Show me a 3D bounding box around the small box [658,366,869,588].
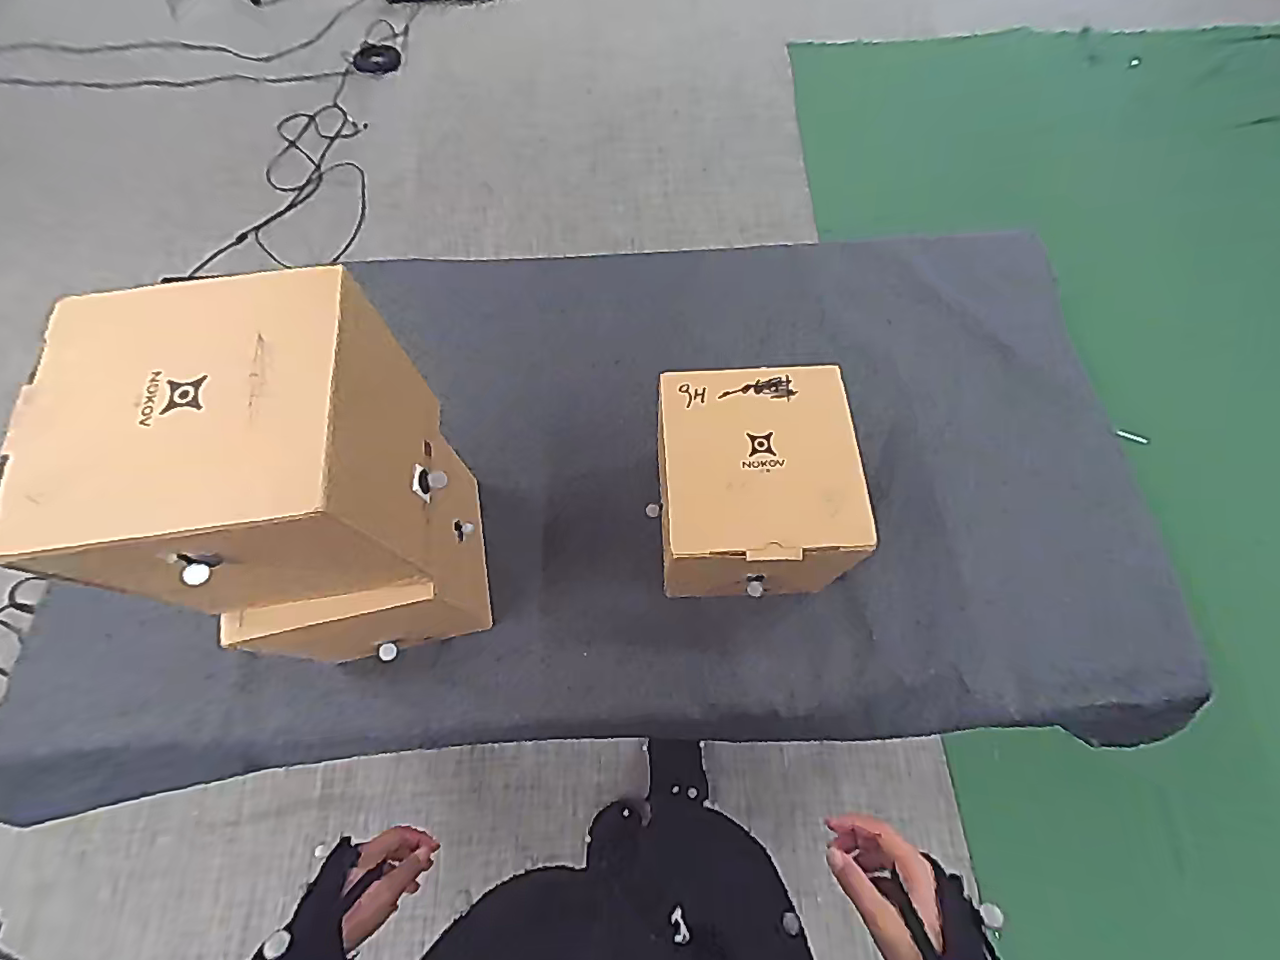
[{"bbox_3d":[0.104,0.009,0.538,0.168,0.176,0.179,-2,67,0],"label":"small box"}]

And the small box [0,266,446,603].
[{"bbox_3d":[-0.252,-0.017,0.378,0.179,0.176,0.168,-8,68,-3],"label":"small box"}]

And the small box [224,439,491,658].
[{"bbox_3d":[-0.252,0.060,0.521,0.168,0.176,0.179,-12,68,-4],"label":"small box"}]
